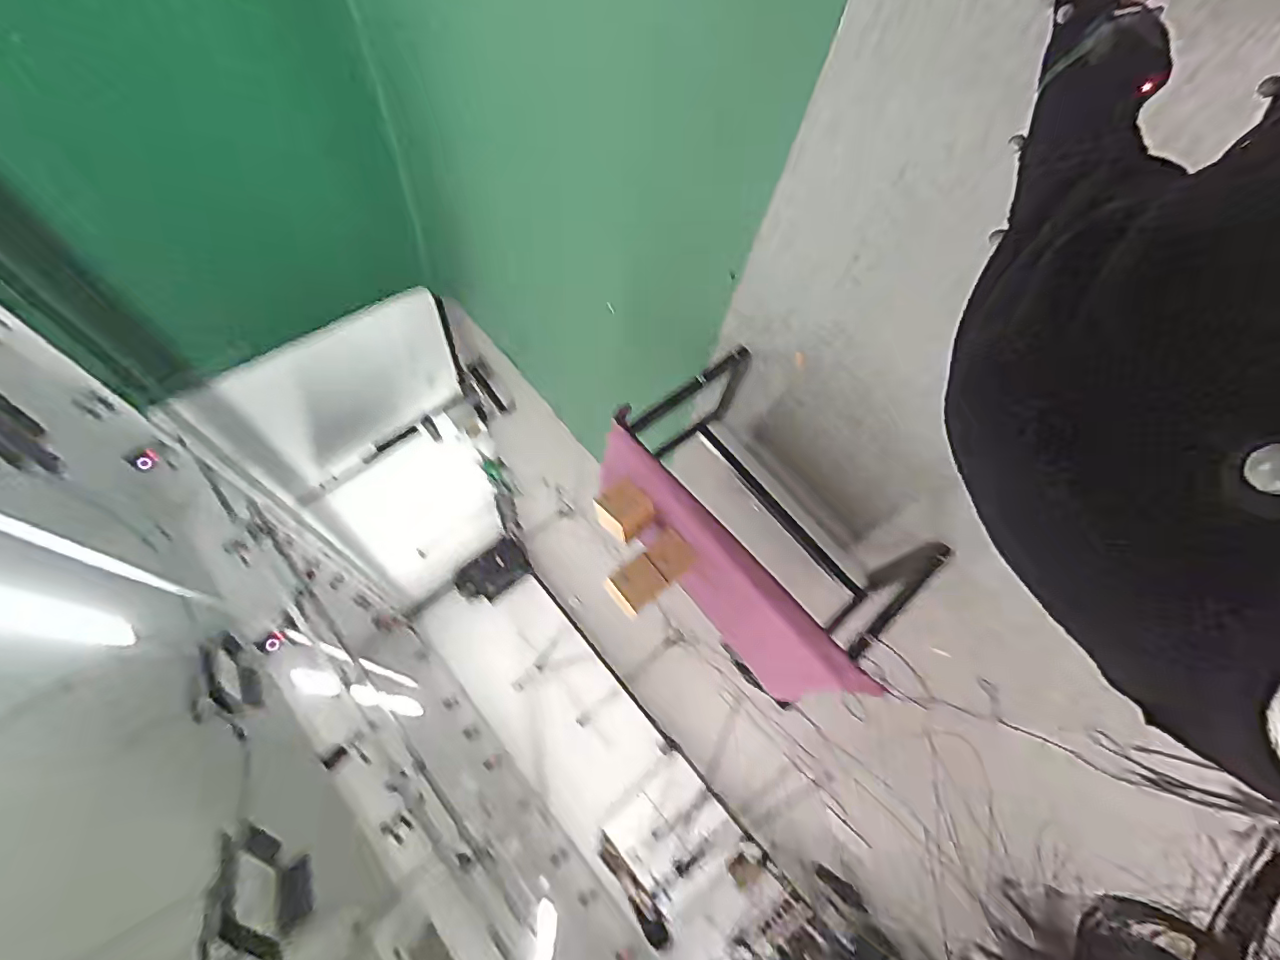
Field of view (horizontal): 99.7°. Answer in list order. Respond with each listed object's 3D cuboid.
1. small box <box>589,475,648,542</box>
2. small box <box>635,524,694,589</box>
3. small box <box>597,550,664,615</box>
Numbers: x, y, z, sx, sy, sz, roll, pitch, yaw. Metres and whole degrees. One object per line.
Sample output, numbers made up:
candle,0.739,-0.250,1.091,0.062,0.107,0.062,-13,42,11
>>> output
small box,-0.080,0.111,2.189,0.179,0.176,0.168,39,154,31
small box,0.087,0.304,2.144,0.179,0.176,0.168,50,157,9
small box,-0.037,0.388,2.075,0.179,0.176,0.168,50,158,9
